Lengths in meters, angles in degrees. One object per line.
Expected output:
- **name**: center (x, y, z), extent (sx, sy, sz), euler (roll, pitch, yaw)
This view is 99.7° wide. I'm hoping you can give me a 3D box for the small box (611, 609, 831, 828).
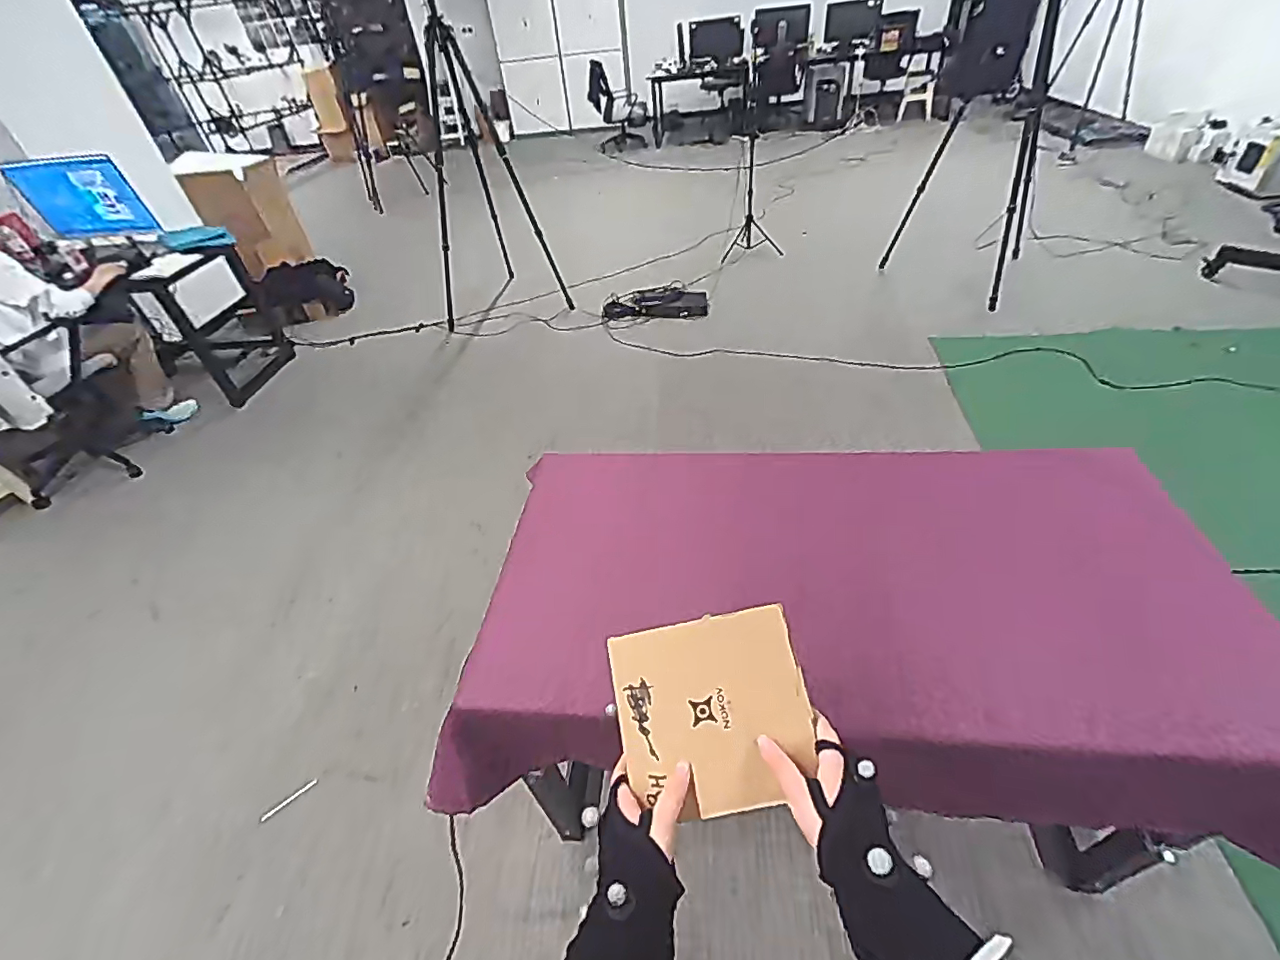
- **small box**: center (0.076, 0.244, 0.572), extent (0.179, 0.176, 0.168), euler (-12, 66, 2)
